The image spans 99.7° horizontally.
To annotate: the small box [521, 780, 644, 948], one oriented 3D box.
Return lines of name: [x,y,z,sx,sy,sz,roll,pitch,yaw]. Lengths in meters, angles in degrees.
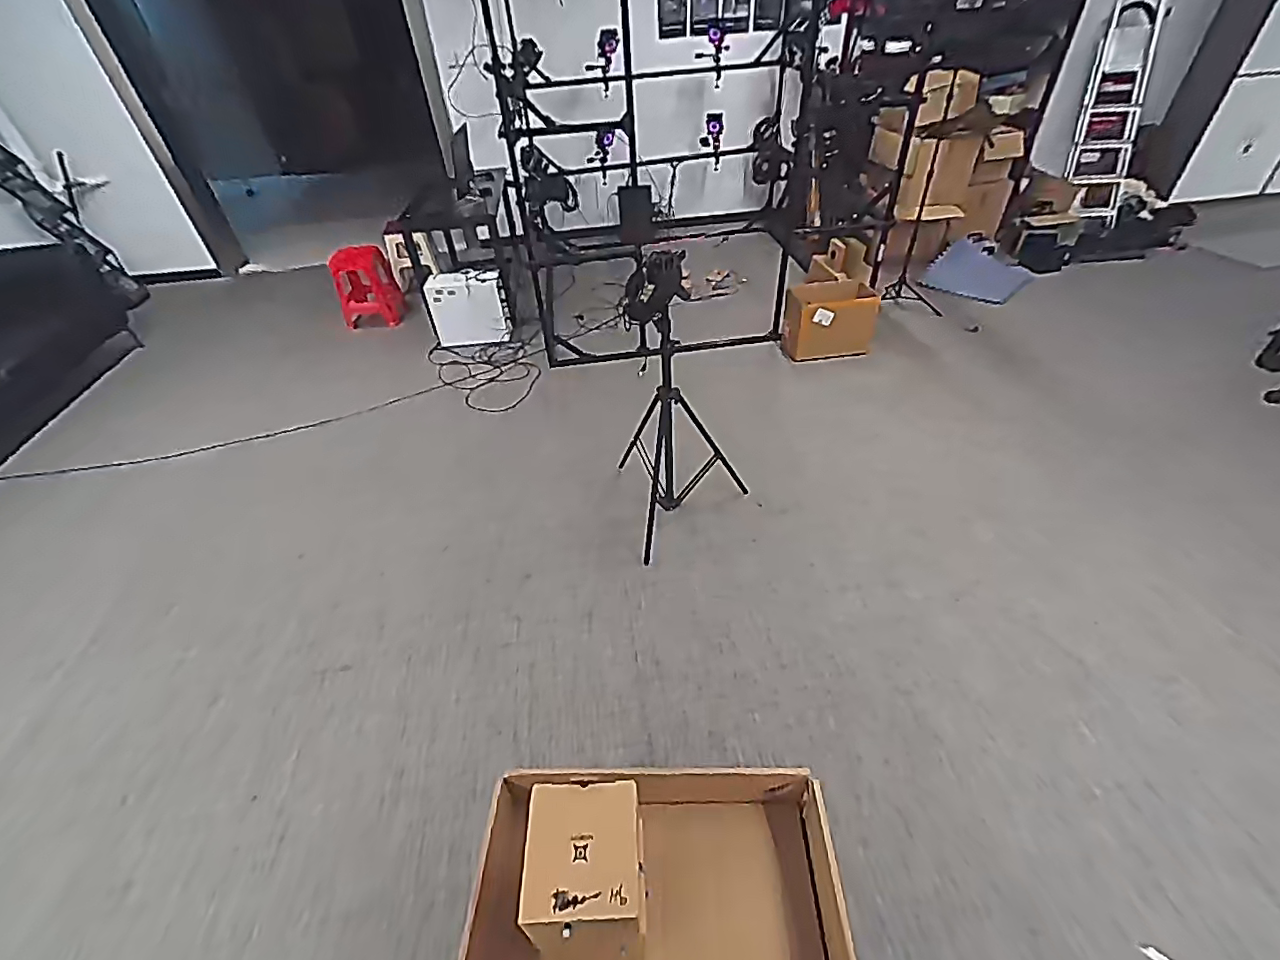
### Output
small box: [-0.079,0.593,0.838,0.168,0.176,0.179,-2,40,0]
